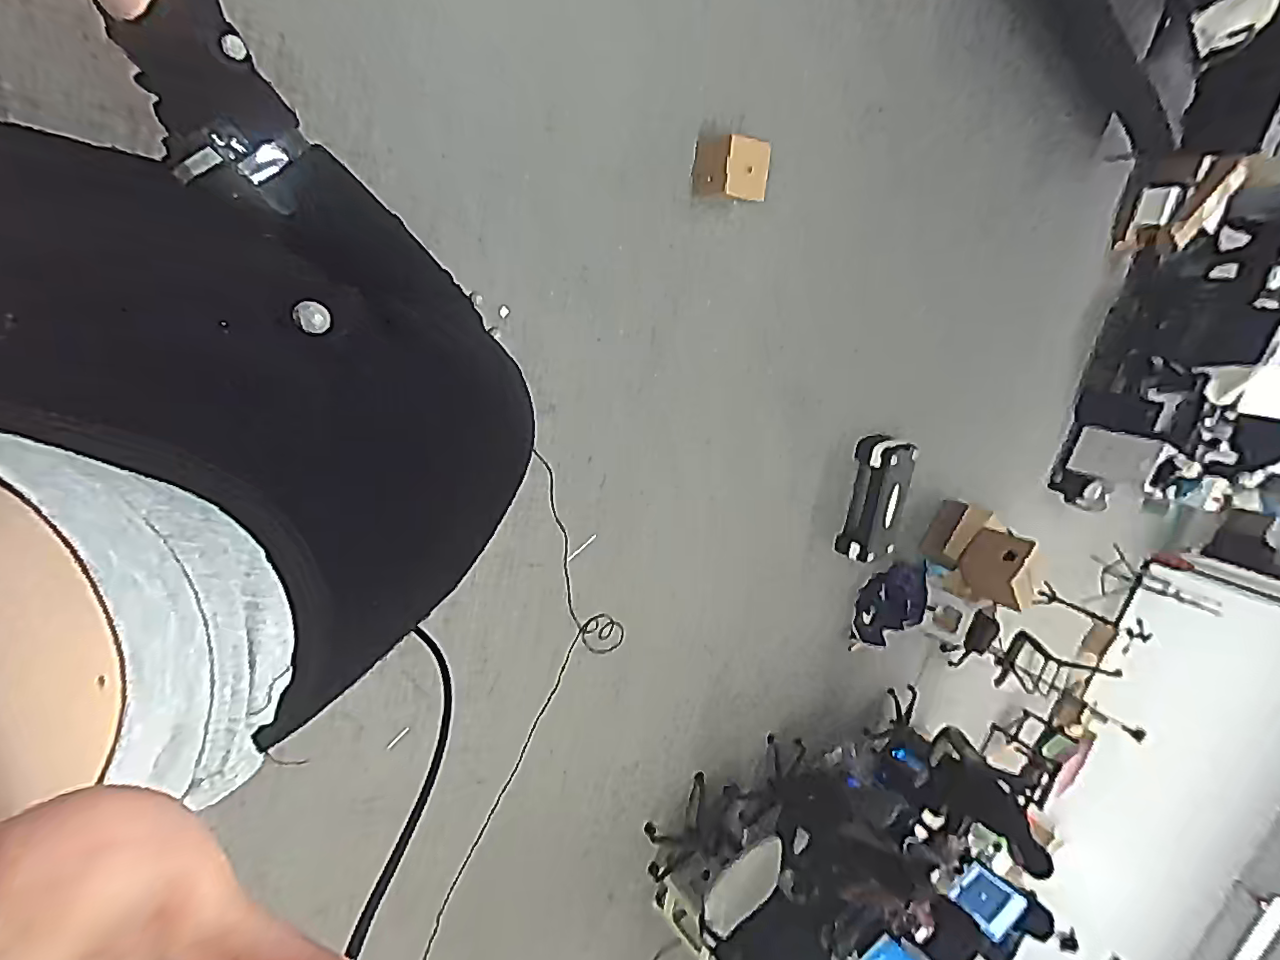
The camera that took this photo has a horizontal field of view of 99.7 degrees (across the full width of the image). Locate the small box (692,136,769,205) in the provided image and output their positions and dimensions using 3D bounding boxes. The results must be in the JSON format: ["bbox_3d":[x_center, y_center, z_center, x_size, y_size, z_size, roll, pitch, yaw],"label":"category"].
[{"bbox_3d":[0.289,-1.001,1.764,0.179,0.176,0.168,-11,116,-35],"label":"small box"}]
